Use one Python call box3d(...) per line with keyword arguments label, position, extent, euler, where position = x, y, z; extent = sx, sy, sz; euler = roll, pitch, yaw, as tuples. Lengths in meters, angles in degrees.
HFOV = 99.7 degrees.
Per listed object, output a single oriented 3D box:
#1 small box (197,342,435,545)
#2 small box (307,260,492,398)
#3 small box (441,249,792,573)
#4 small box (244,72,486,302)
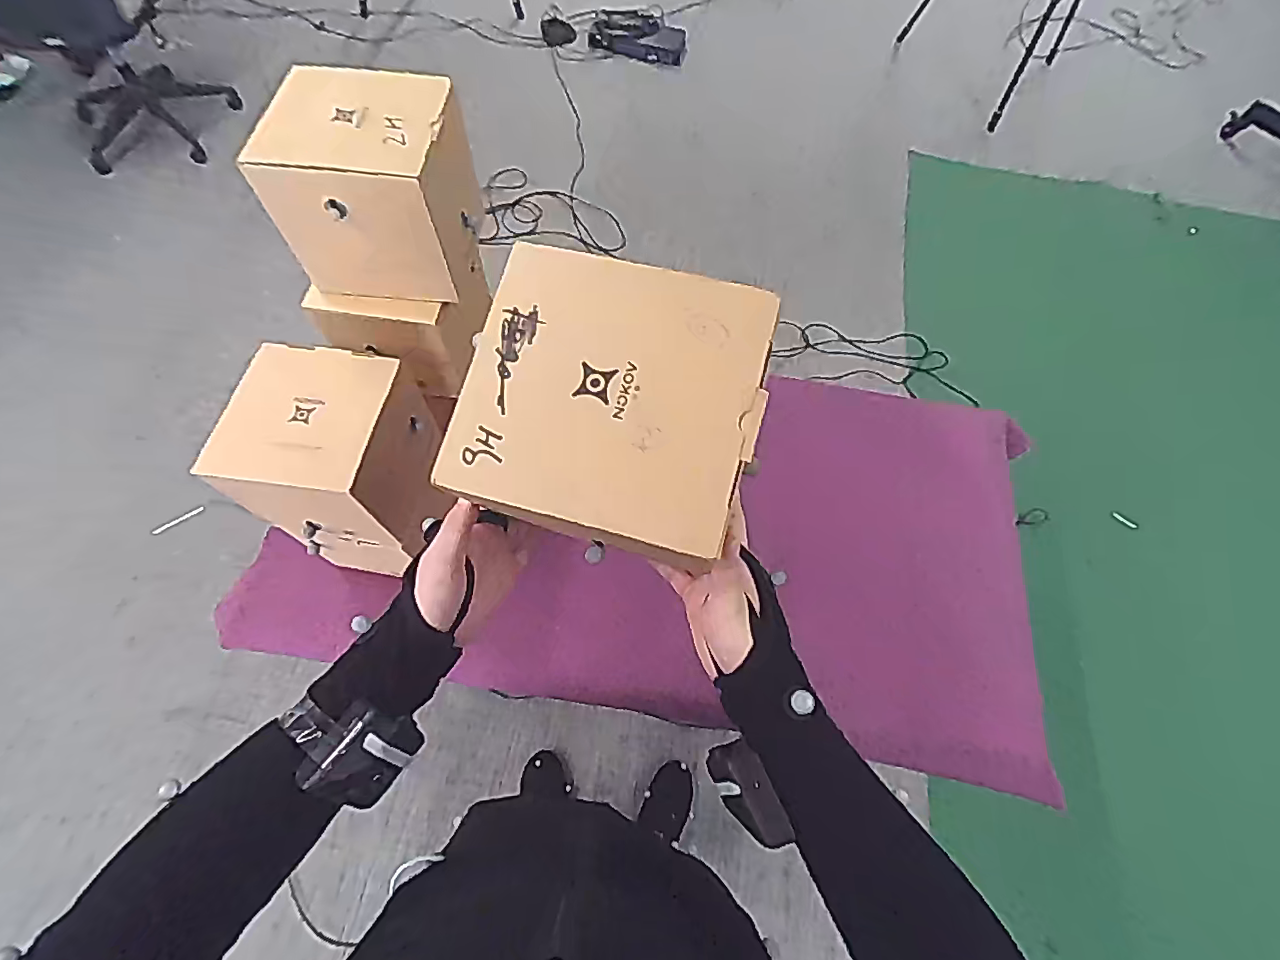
box3d(label="small box", position=(-0.369, -0.038, 0.661), extent=(0.168, 0.176, 0.179), euler=(8, 64, 0))
box3d(label="small box", position=(-0.319, -0.236, 0.762), extent=(0.168, 0.176, 0.179), euler=(8, 64, 0))
box3d(label="small box", position=(-0.009, -0.033, 0.402), extent=(0.179, 0.176, 0.168), euler=(16, 79, 6))
box3d(label="small box", position=(-0.294, -0.329, 0.626), extent=(0.179, 0.176, 0.168), euler=(5, 64, -2))
